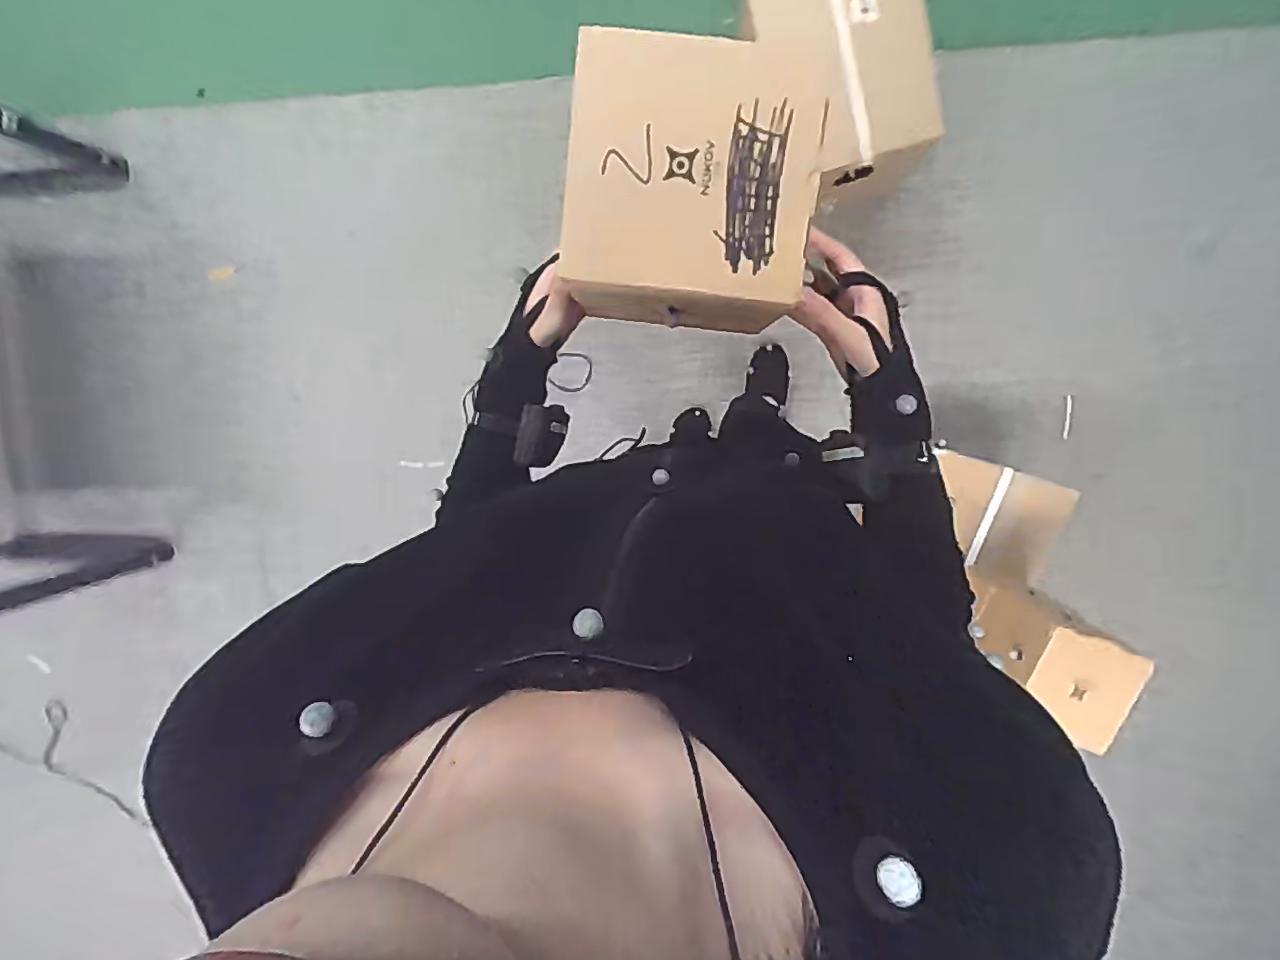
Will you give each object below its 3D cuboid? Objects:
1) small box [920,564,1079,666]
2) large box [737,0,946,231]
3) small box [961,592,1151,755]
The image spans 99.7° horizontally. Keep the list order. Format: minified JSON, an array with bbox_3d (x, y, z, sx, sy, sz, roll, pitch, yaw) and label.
[{"bbox_3d":[0.709,0.287,1.088,0.179,0.176,0.168,19,100,1],"label":"small box"},{"bbox_3d":[0.416,-0.838,1.193,0.320,0.320,0.408,-13,96,7],"label":"large box"},{"bbox_3d":[0.692,0.321,0.930,0.168,0.176,0.179,21,100,1],"label":"small box"}]
